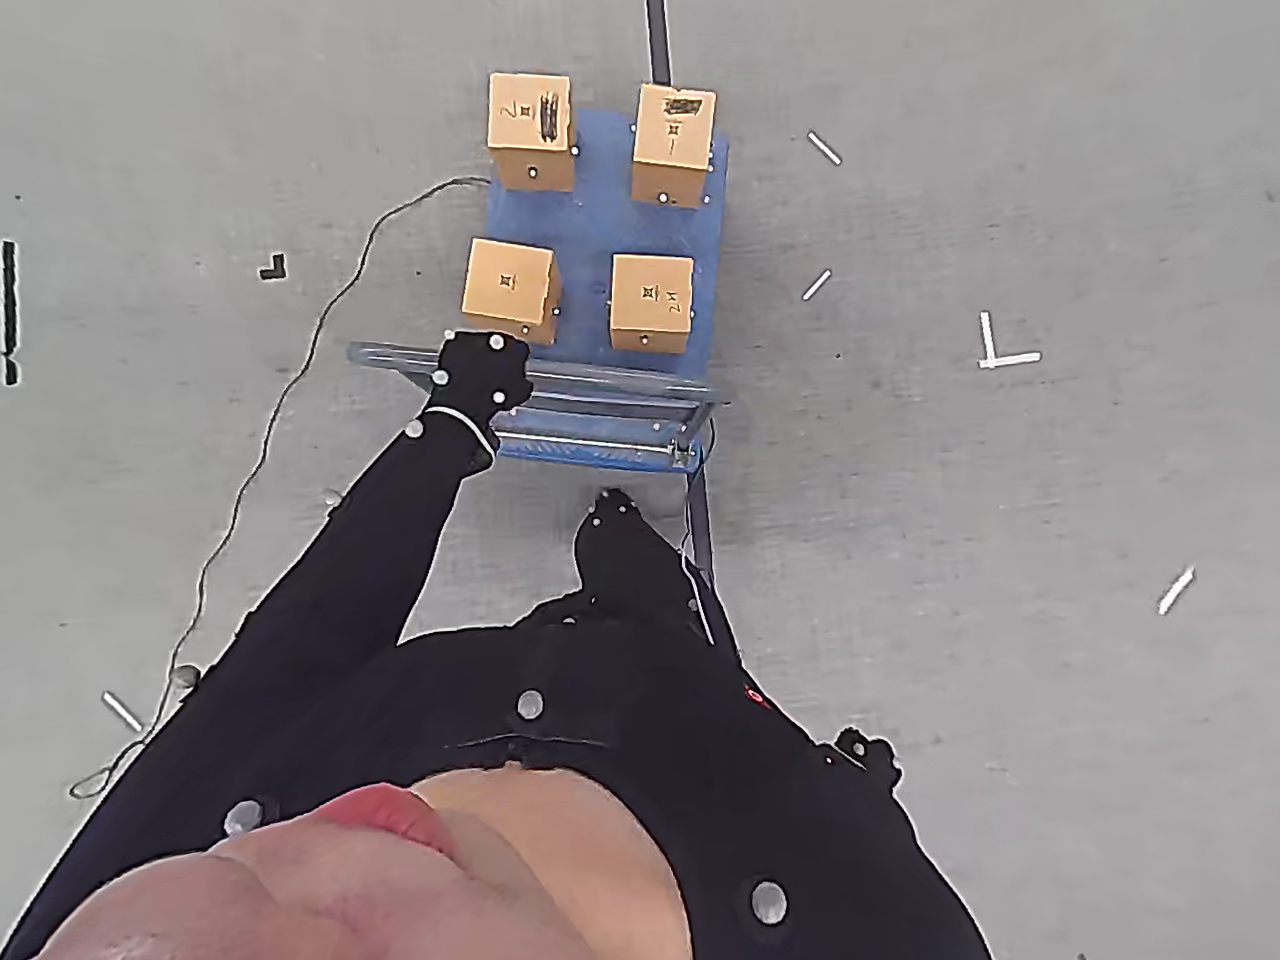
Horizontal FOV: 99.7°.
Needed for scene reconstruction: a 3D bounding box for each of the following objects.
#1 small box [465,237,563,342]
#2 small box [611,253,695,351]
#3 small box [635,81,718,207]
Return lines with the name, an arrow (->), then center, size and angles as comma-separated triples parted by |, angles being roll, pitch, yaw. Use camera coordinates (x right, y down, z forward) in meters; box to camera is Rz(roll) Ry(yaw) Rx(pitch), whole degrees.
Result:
small box -> -0.281, -0.427, 1.239 | 0.179, 0.176, 0.168 | 8, 88, -2
small box -> 0.029, -0.402, 1.243 | 0.179, 0.176, 0.168 | 3, 88, -1
small box -> 0.078, -0.771, 1.254 | 0.168, 0.176, 0.179 | 6, 89, -1
